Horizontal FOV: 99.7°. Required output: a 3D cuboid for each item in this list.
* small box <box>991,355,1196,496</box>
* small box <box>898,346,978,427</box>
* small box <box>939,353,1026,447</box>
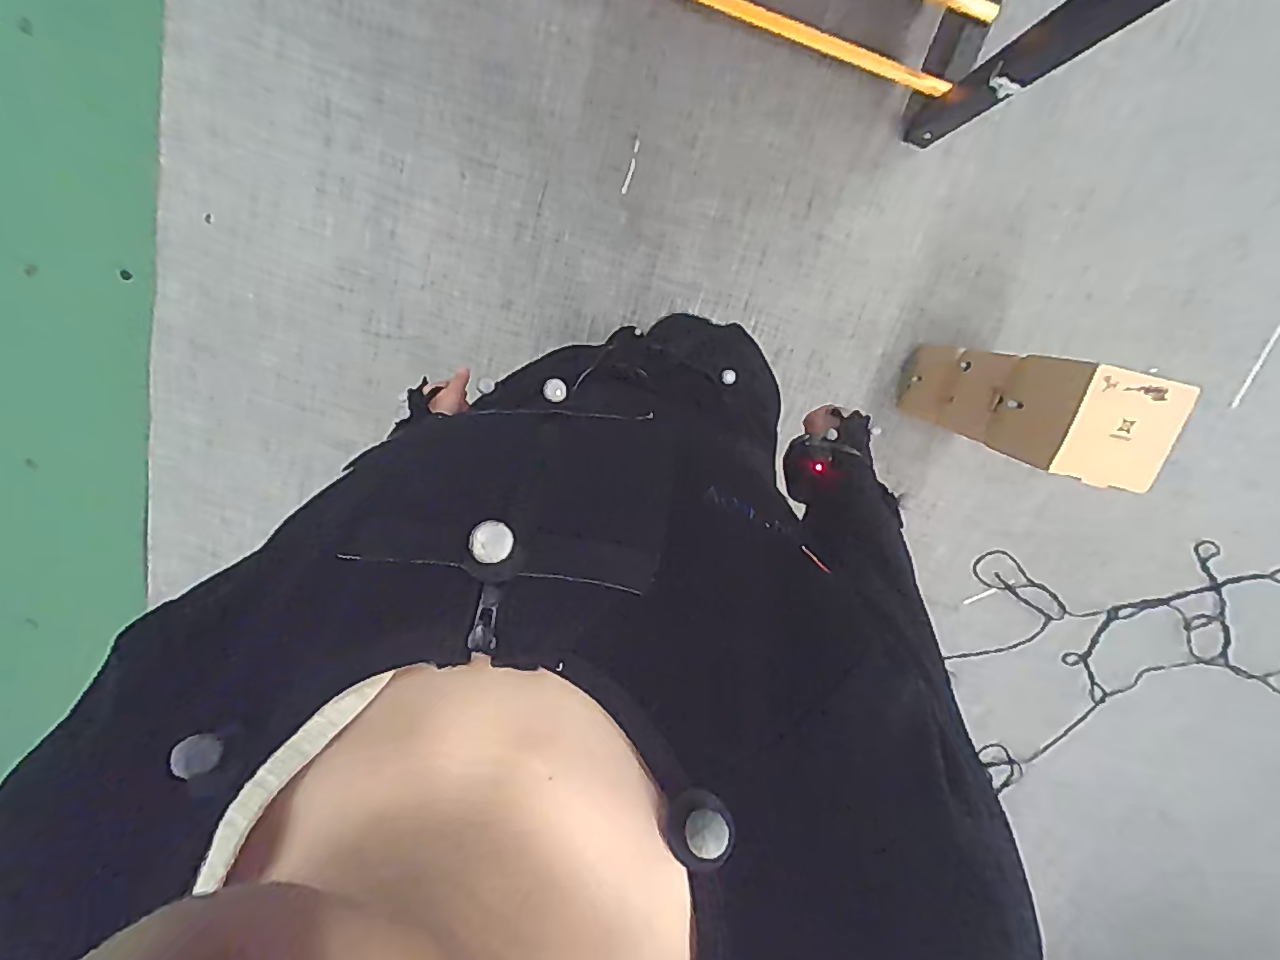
[{"bbox_3d":[0.730,-0.097,0.899,0.168,0.176,0.179,13,108,-3],"label":"small box"},{"bbox_3d":[0.719,-0.200,1.211,0.179,0.176,0.168,12,107,-2],"label":"small box"},{"bbox_3d":[0.728,-0.147,1.055,0.179,0.176,0.168,12,108,-4],"label":"small box"}]
